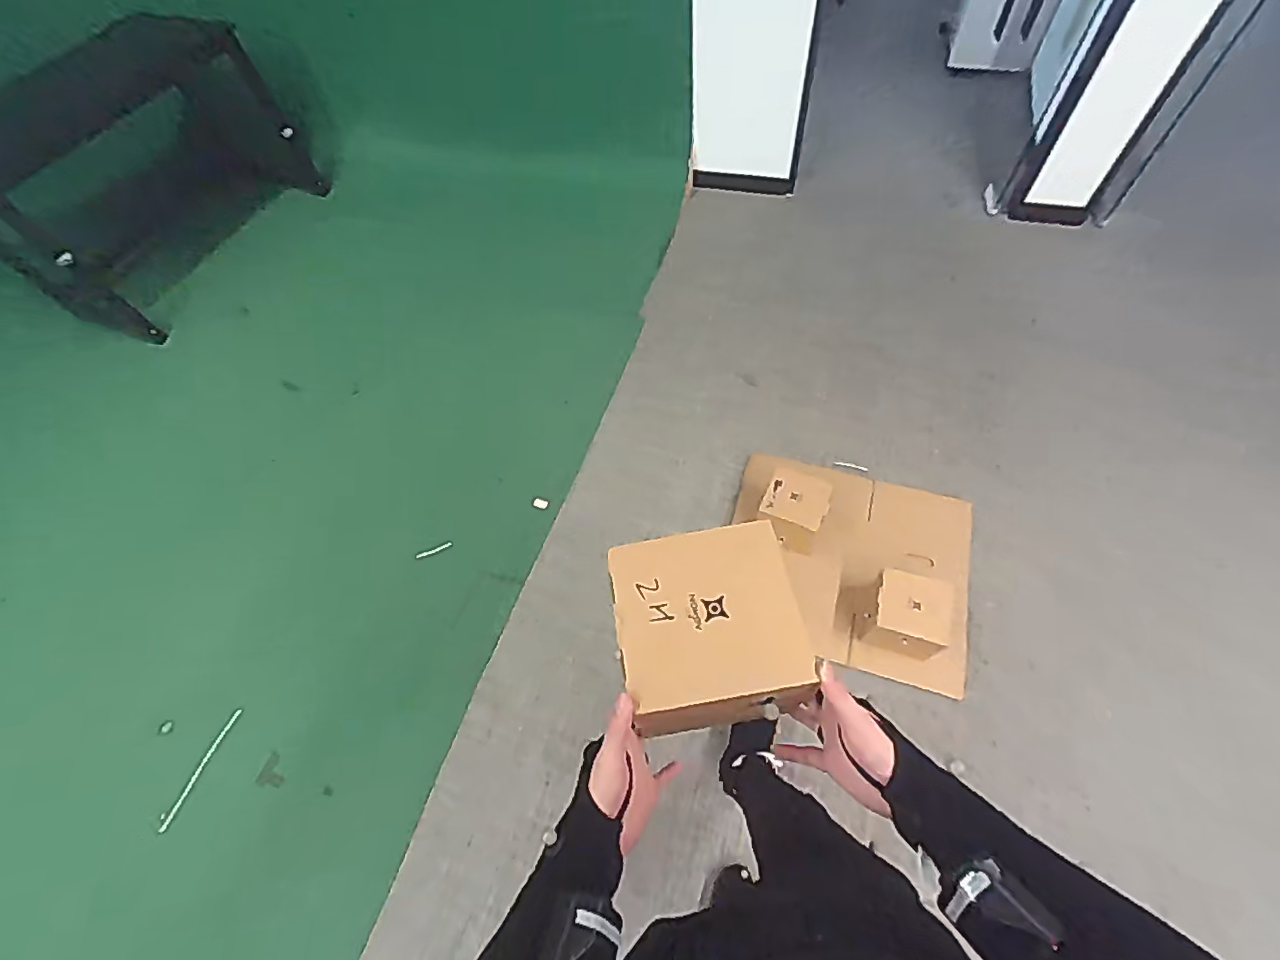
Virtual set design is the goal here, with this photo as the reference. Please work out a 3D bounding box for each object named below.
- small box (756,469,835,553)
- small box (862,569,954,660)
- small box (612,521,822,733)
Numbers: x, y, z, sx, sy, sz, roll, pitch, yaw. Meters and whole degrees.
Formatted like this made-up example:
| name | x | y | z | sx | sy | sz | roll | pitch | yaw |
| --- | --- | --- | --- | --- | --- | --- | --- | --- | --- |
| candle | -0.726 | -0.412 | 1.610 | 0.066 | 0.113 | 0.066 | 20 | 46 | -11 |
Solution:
| name | x | y | z | sx | sy | sz | roll | pitch | yaw |
| --- | --- | --- | --- | --- | --- | --- | --- | --- | --- |
| small box | 0.459 | 0.099 | 1.621 | 0.179 | 0.176 | 0.168 | 22 | 64 | 17 |
| small box | 0.709 | 0.364 | 1.443 | 0.179 | 0.176 | 0.168 | 15 | 63 | 14 |
| small box | 0.072 | 0.165 | 0.586 | 0.179 | 0.176 | 0.168 | -10 | 57 | -1 |
